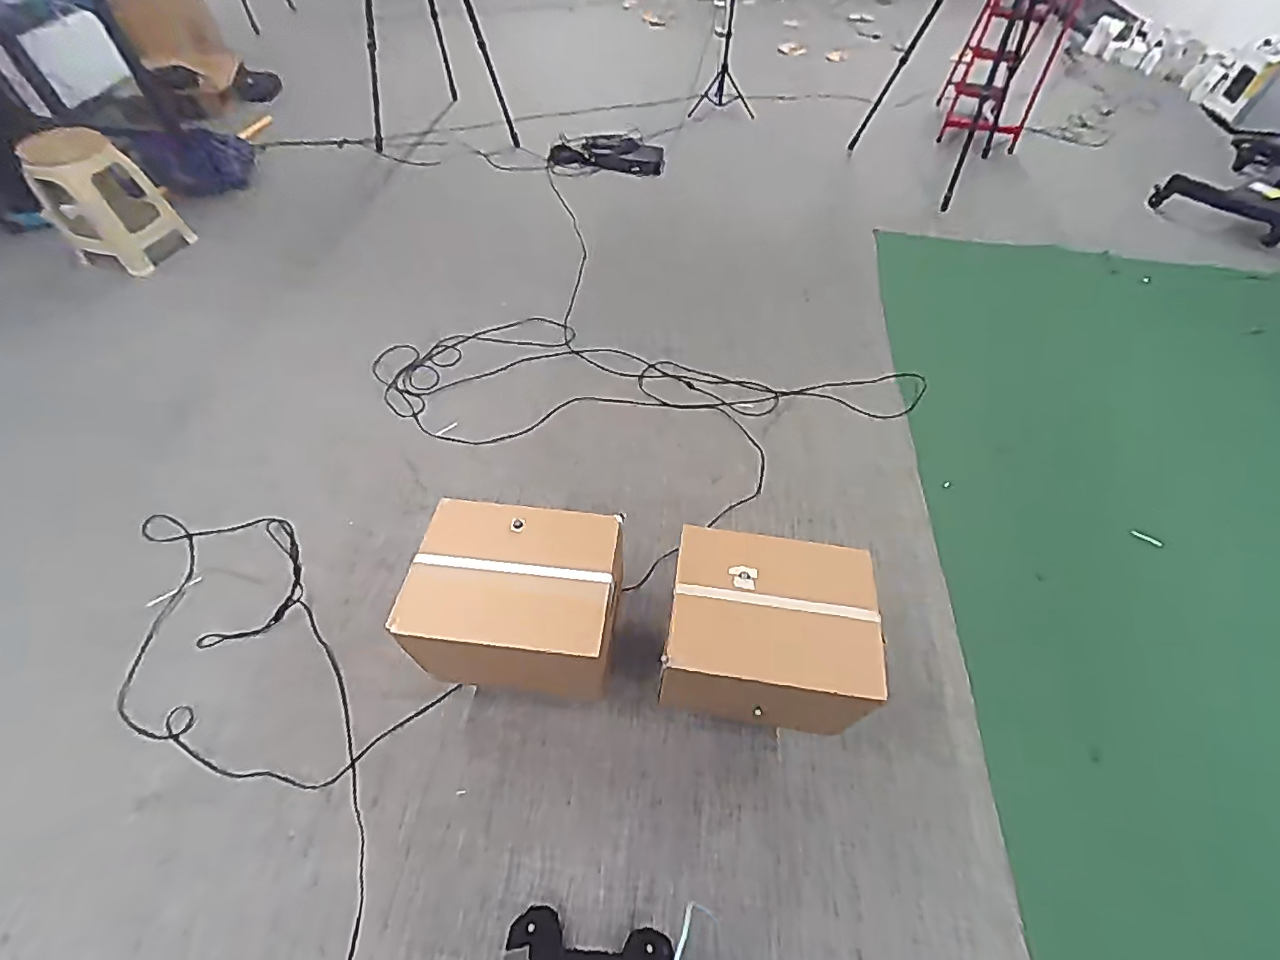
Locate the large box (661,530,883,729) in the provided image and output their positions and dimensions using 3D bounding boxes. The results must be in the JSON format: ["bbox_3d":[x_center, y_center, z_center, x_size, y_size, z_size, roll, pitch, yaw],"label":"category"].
[{"bbox_3d":[0.269,0.341,1.206,0.408,0.320,0.320,8,54,4],"label":"large box"}]
